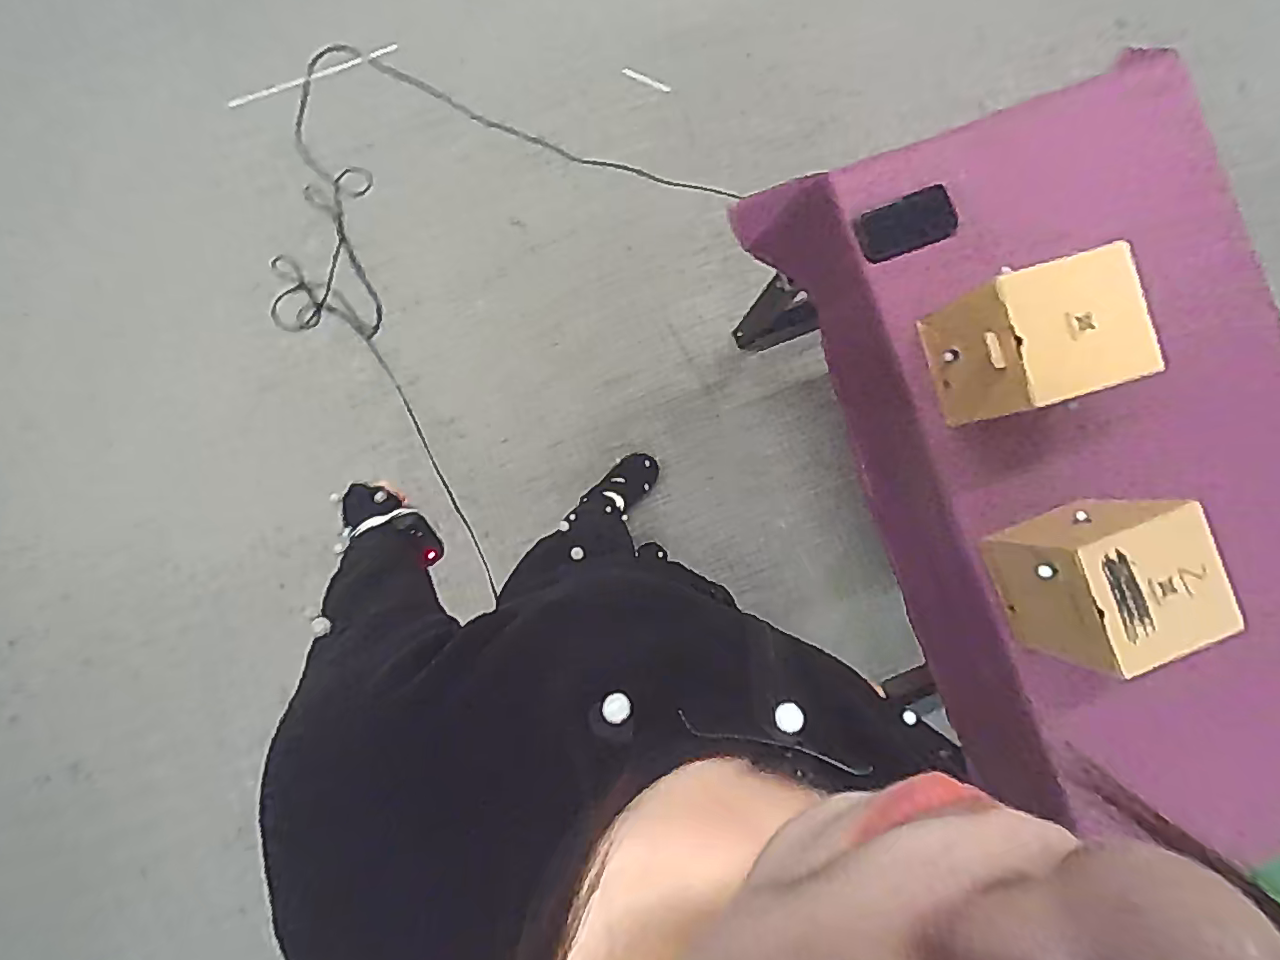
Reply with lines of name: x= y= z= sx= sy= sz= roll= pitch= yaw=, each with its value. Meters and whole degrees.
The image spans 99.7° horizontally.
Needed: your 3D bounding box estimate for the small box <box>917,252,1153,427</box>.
small box: x=0.522 y=-0.179 z=0.738 sx=0.179 sy=0.176 sz=0.168 roll=-16 pitch=90 yaw=-3
